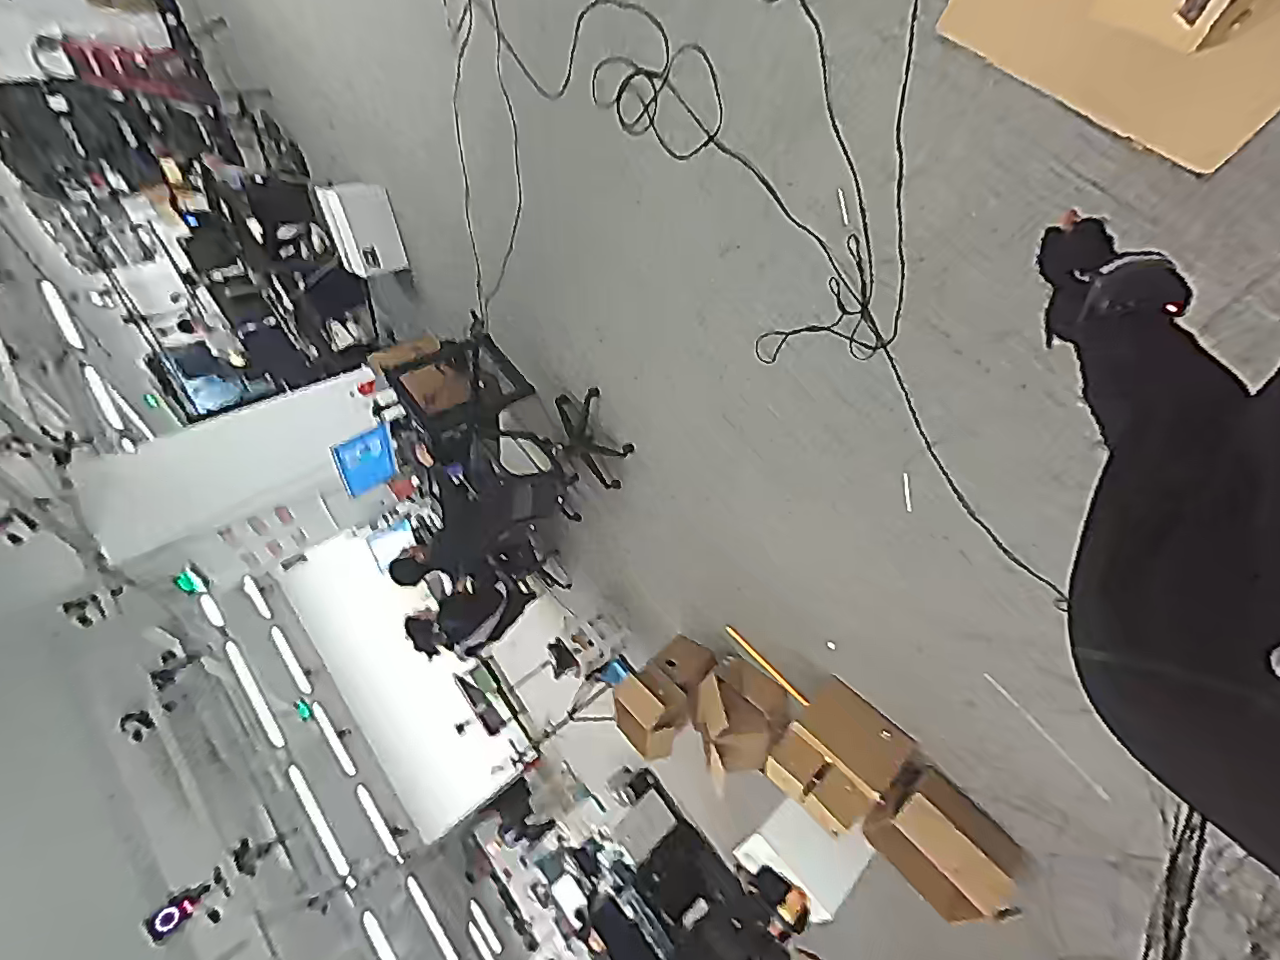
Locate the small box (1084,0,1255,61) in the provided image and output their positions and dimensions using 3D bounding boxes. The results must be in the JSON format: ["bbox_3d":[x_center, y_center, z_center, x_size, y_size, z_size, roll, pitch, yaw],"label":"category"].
[{"bbox_3d":[0.857,-0.780,0.832,0.179,0.176,0.168,46,148,23],"label":"small box"}]
